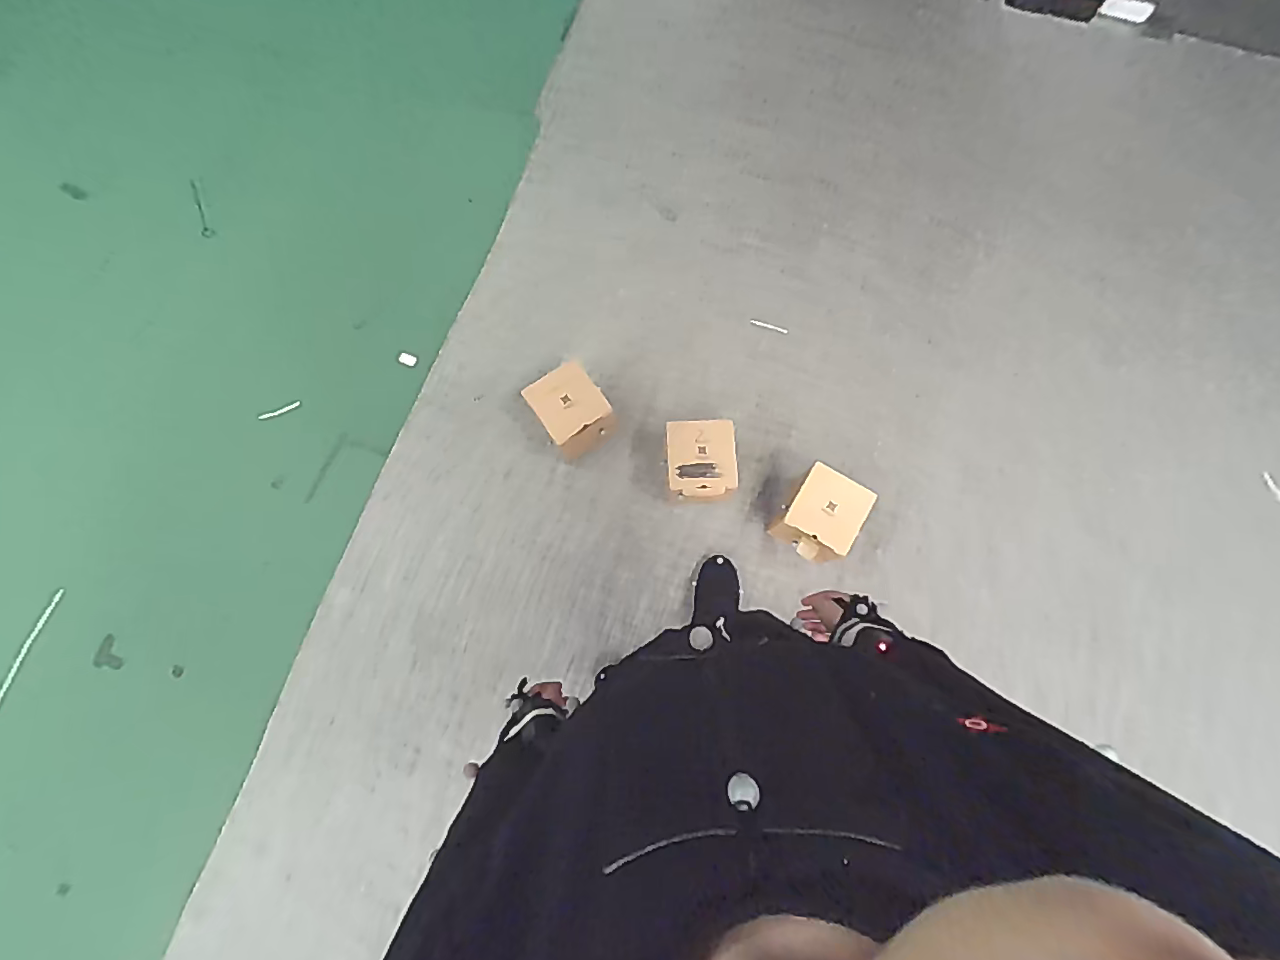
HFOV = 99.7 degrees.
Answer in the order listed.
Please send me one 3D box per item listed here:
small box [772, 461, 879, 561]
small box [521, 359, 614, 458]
[{"bbox_3d":[0.448,0.083,1.337,0.168,0.176,0.179,31,79,7],"label":"small box"},{"bbox_3d":[-0.180,-0.174,1.400,0.168,0.176,0.179,-35,78,-9],"label":"small box"}]
